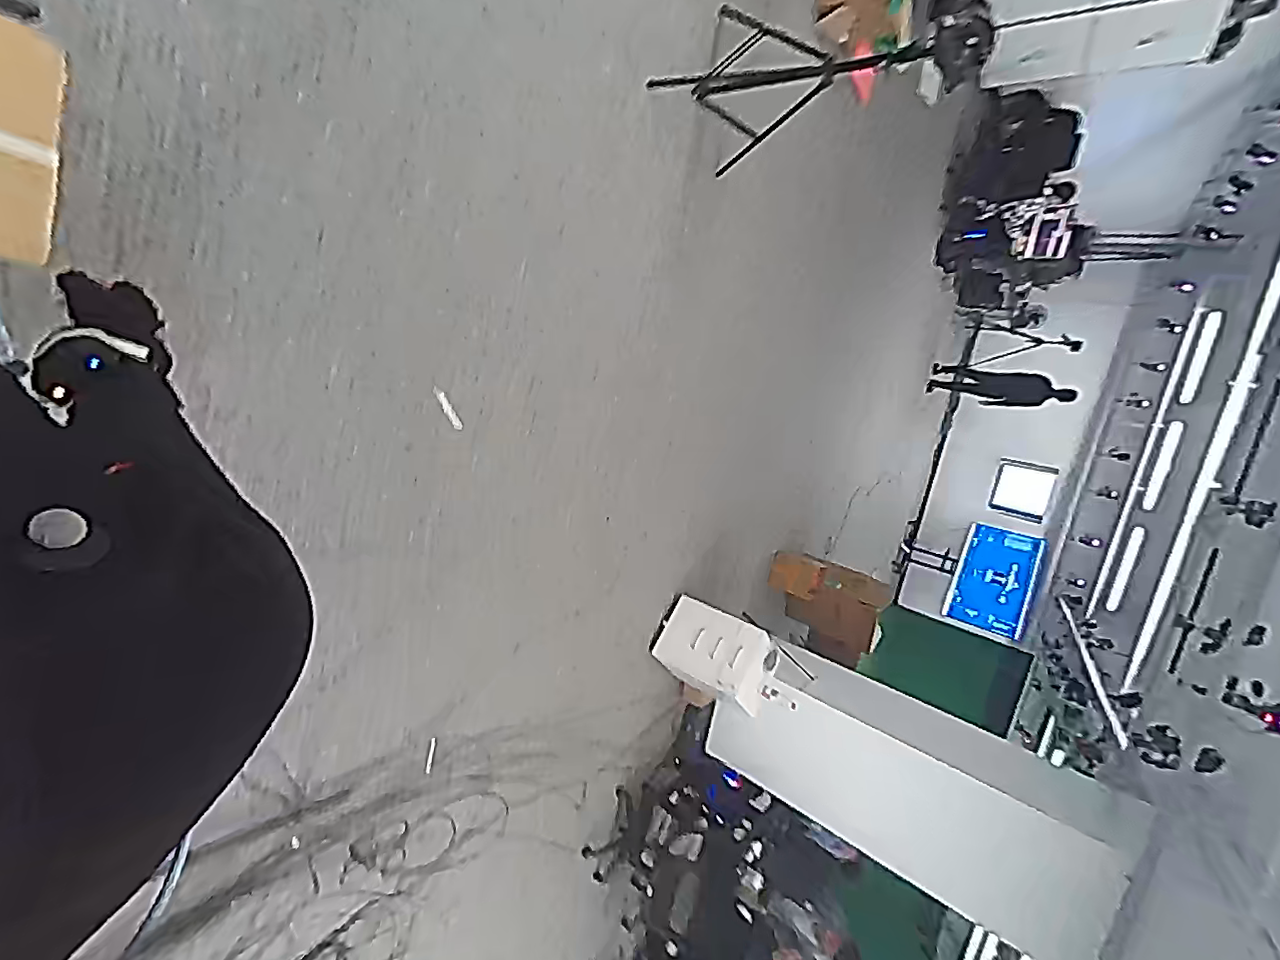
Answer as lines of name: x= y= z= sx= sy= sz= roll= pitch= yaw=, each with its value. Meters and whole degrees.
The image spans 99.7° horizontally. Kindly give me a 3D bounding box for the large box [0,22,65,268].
large box: x=-1.080 y=-0.499 z=0.702 sx=0.408 sy=0.320 sz=0.320 roll=4 pitch=102 yaw=-56
